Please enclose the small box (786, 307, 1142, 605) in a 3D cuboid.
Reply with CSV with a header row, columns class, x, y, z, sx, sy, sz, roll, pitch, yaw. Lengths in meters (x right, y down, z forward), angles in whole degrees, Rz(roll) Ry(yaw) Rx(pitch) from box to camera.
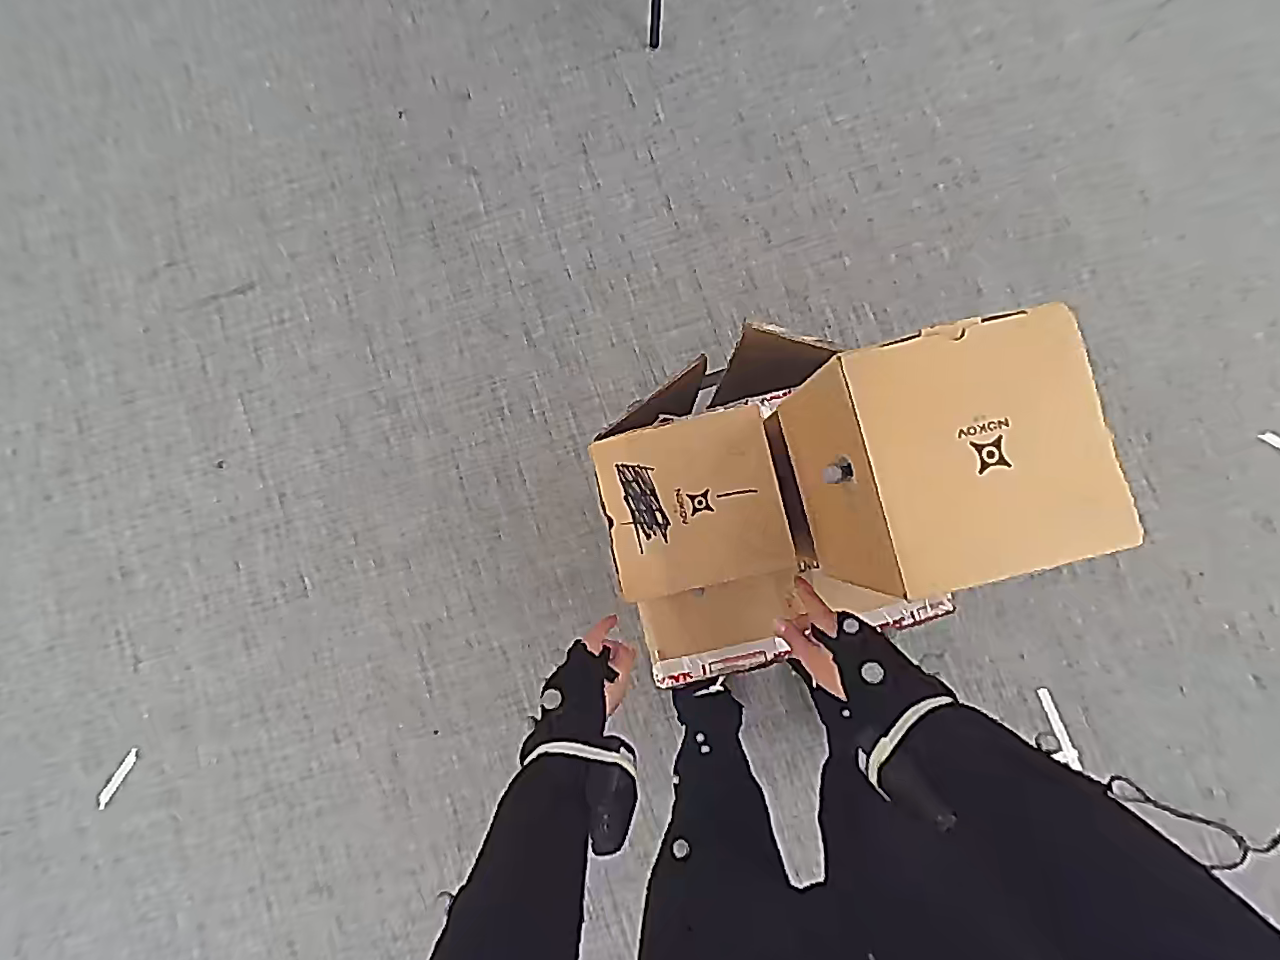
class,x,y,z,sx,sy,sz,roll,pitch,yaw
small box,0.237,-0.012,0.445,0.168,0.176,0.179,-14,84,-1
